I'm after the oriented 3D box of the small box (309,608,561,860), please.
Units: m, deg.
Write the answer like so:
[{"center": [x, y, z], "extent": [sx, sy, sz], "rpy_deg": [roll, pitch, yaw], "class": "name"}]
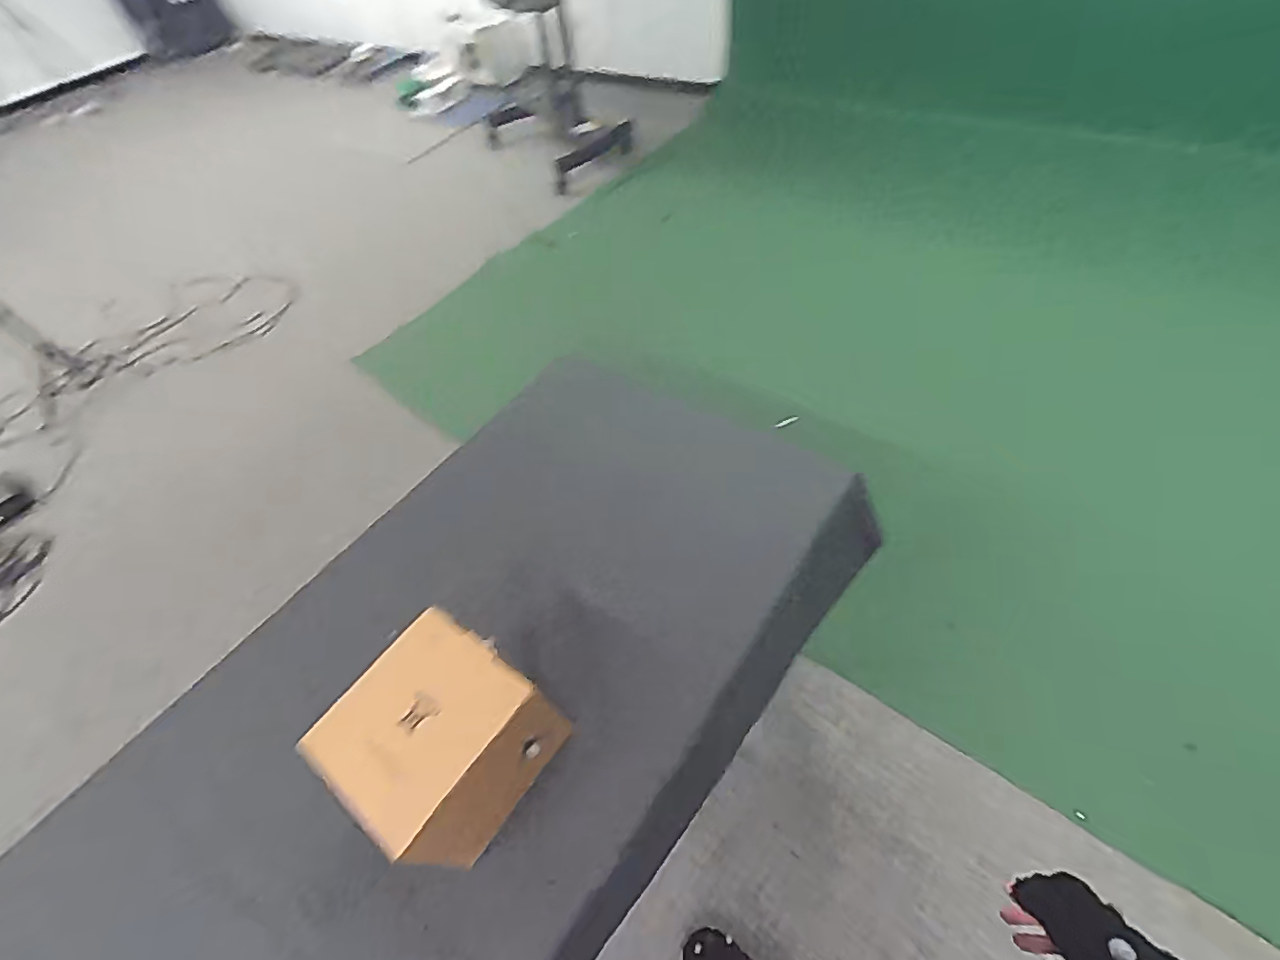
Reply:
[{"center": [-0.207, 0.282, 0.602], "extent": [0.168, 0.176, 0.179], "rpy_deg": [25, 62, 27], "class": "small box"}]
